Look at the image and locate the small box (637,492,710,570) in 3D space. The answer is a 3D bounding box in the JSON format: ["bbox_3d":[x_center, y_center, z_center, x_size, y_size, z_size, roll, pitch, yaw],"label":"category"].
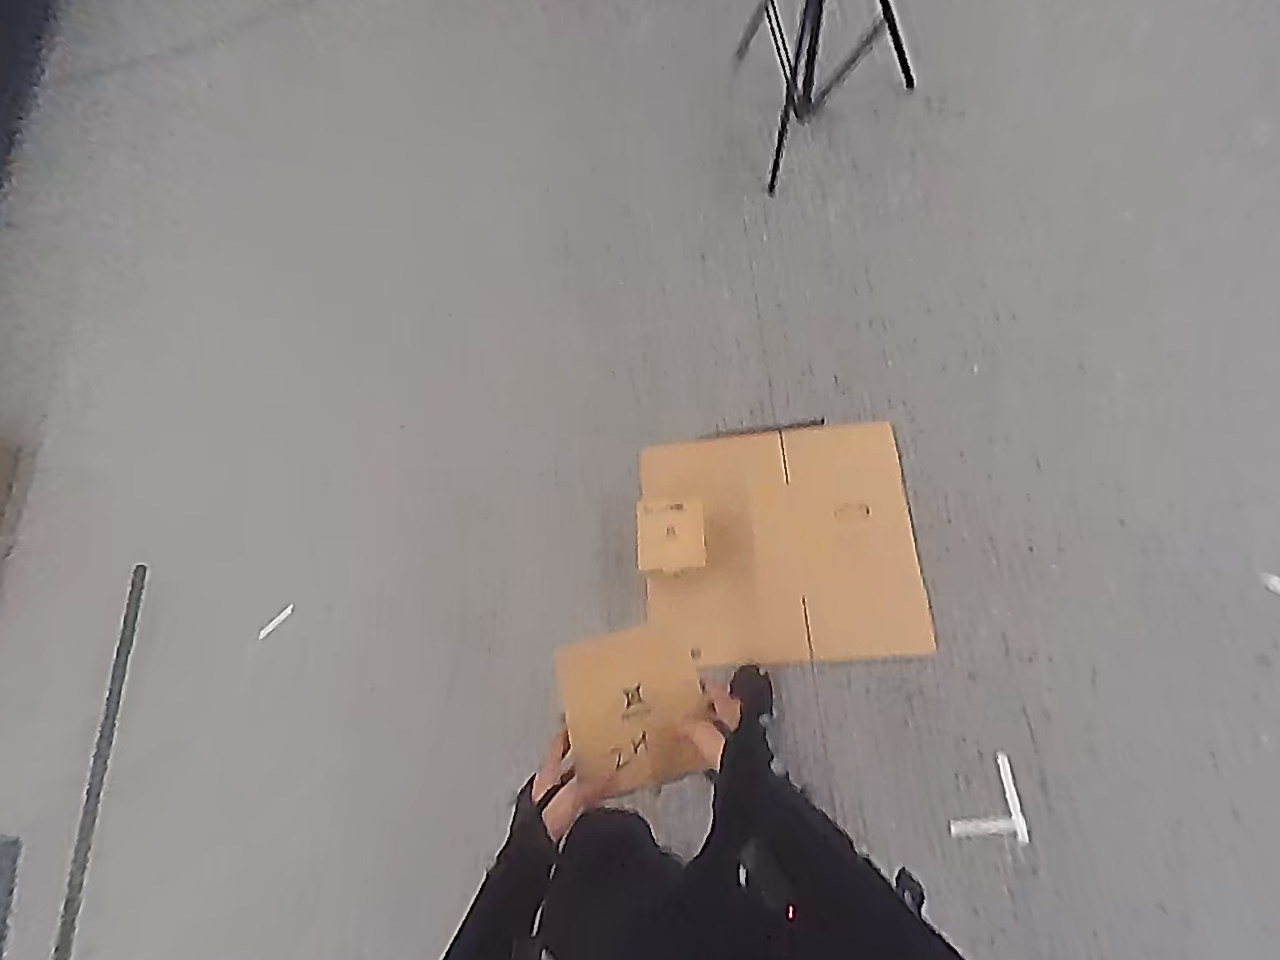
[{"bbox_3d":[0.088,0.136,1.377,0.168,0.176,0.179,-4,75,9],"label":"small box"}]

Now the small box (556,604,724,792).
[{"bbox_3d":[-0.004,0.283,0.703,0.168,0.176,0.179,-14,65,-5],"label":"small box"}]
